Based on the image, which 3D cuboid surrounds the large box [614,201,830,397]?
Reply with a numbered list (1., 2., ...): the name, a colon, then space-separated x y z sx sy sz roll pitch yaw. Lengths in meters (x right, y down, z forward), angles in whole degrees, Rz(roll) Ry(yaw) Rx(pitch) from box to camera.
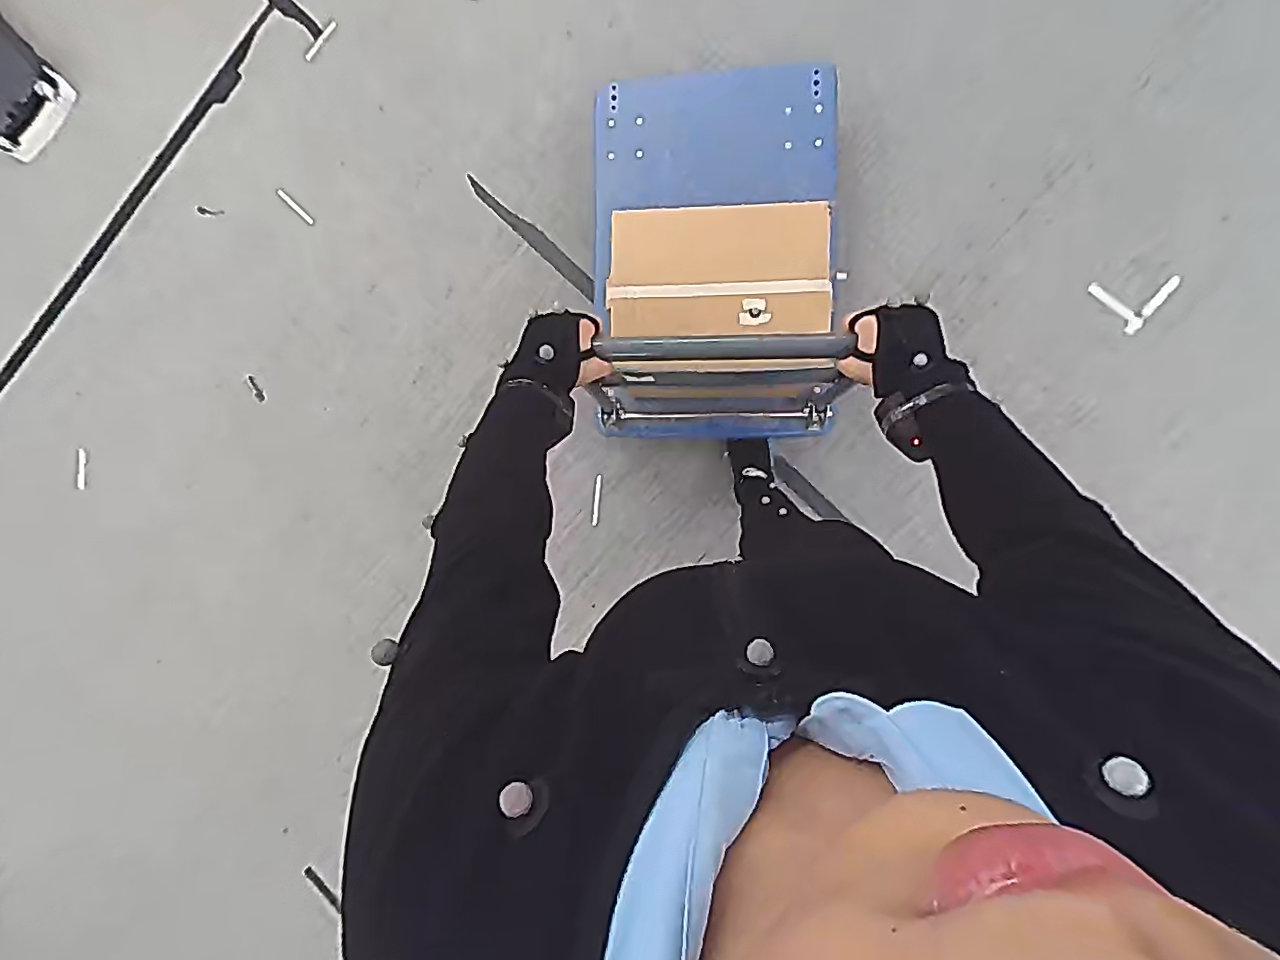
1. large box: 0.161 -0.357 1.155 0.408 0.320 0.320 0 91 5
